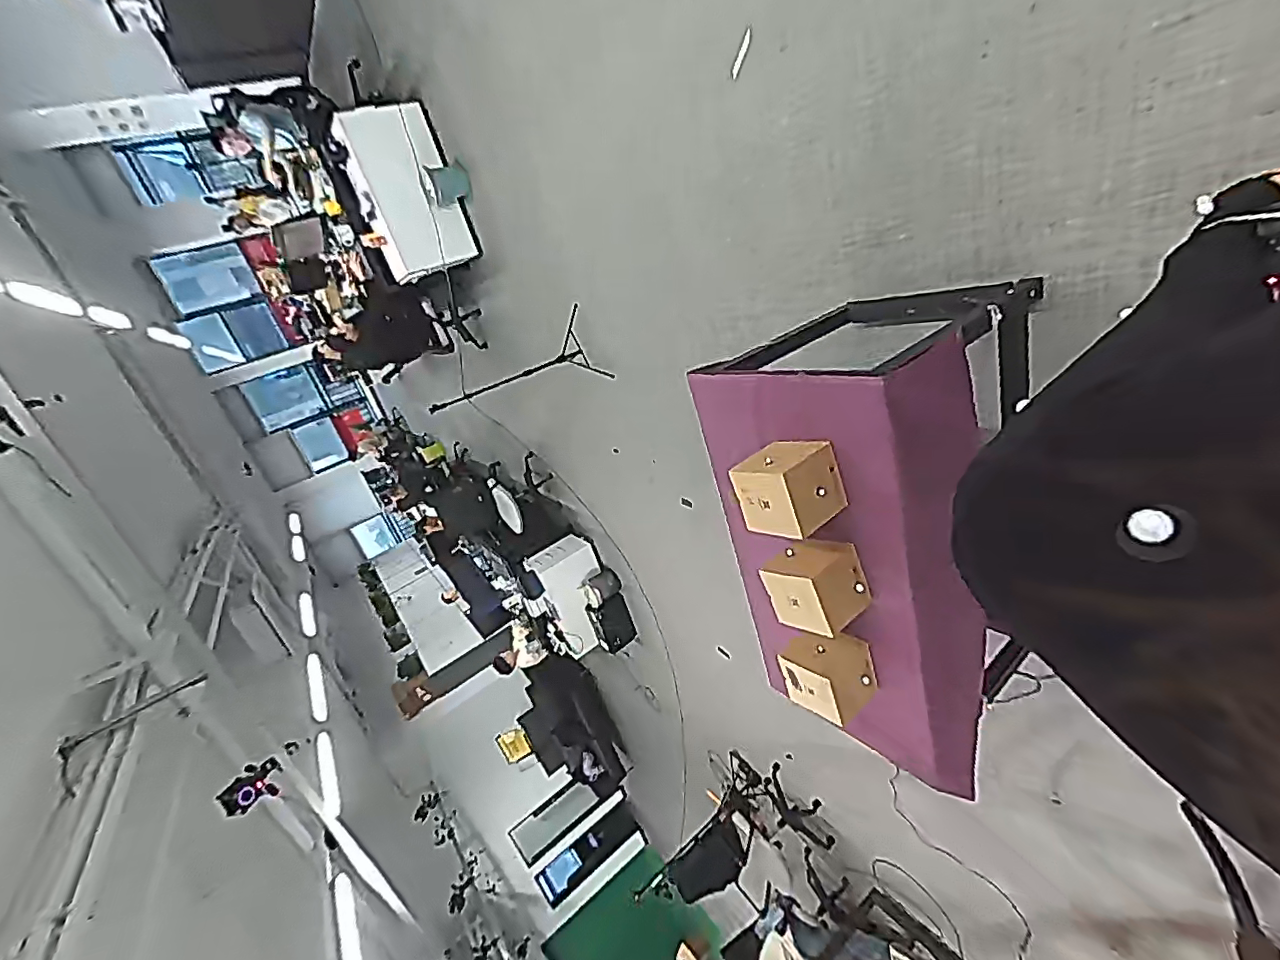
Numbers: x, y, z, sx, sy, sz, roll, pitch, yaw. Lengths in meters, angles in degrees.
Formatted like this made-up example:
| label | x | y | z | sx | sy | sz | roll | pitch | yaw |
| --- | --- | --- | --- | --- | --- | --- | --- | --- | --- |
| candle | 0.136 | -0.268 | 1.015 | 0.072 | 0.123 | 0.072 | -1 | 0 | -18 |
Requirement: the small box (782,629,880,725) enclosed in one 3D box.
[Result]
| label | x | y | z | sx | sy | sz | roll | pitch | yaw |
| --- | --- | --- | --- | --- | --- | --- | --- | --- | --- |
| small box | 0.527 | 0.525 | 1.491 | 0.179 | 0.176 | 0.168 | 10 | 126 | 57 |

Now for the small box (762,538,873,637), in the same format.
| label | x | y | z | sx | sy | sz | roll | pitch | yaw |
| --- | --- | --- | --- | --- | --- | --- | --- | --- | --- |
| small box | 0.447 | 0.260 | 1.360 | 0.179 | 0.176 | 0.168 | 1 | 118 | 61 |

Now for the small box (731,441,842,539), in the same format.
| label | x | y | z | sx | sy | sz | roll | pitch | yaw |
| --- | --- | --- | --- | --- | --- | --- | --- | --- | --- |
| small box | 0.351 | 0.016 | 1.272 | 0.179 | 0.176 | 0.168 | 8 | 124 | 59 |
